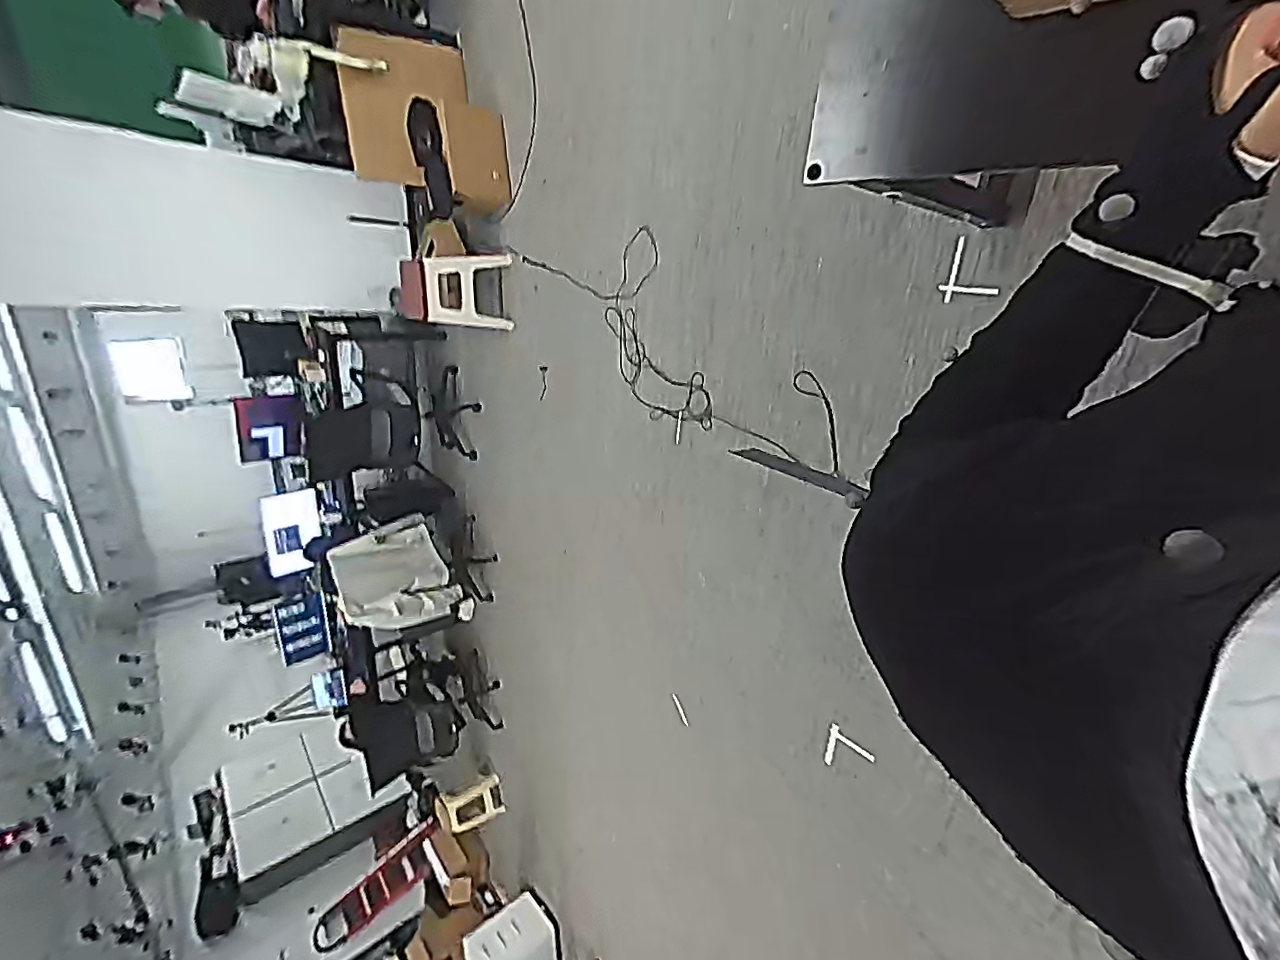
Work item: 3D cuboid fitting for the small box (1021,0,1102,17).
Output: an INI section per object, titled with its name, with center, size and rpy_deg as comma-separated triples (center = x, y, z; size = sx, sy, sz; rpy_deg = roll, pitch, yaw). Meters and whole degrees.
[small box]
center = 0.425, -0.556, 0.470
size = 0.168, 0.176, 0.179
rpy_deg = 26, 120, 44
